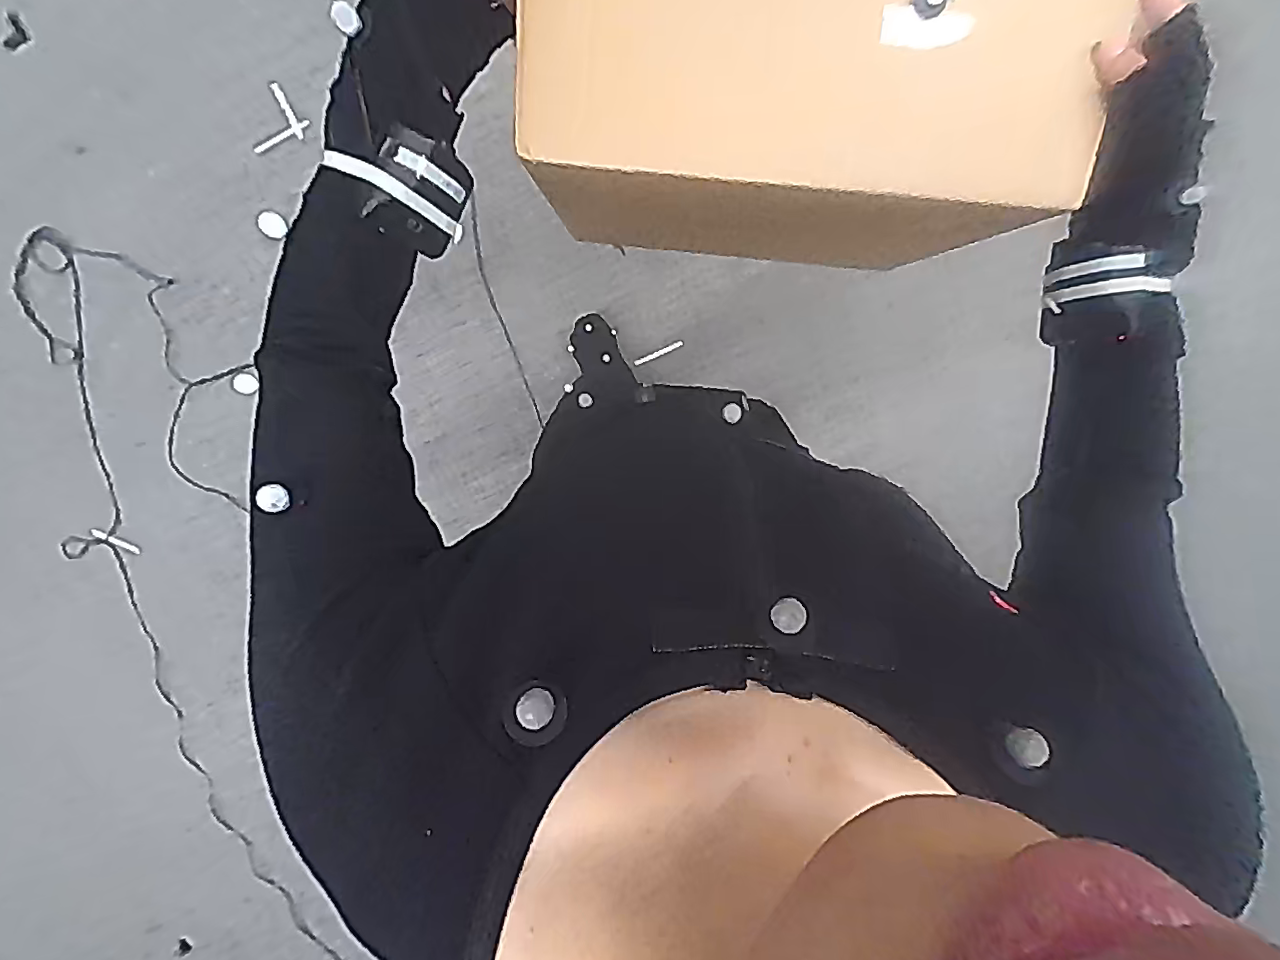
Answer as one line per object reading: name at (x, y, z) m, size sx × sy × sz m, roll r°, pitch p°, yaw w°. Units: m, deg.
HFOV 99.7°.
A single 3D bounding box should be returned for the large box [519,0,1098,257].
large box at (0.116, -0.407, 0.505) m, size 0.408 × 0.320 × 0.320 m, roll 4°, pitch 104°, yaw -1°
